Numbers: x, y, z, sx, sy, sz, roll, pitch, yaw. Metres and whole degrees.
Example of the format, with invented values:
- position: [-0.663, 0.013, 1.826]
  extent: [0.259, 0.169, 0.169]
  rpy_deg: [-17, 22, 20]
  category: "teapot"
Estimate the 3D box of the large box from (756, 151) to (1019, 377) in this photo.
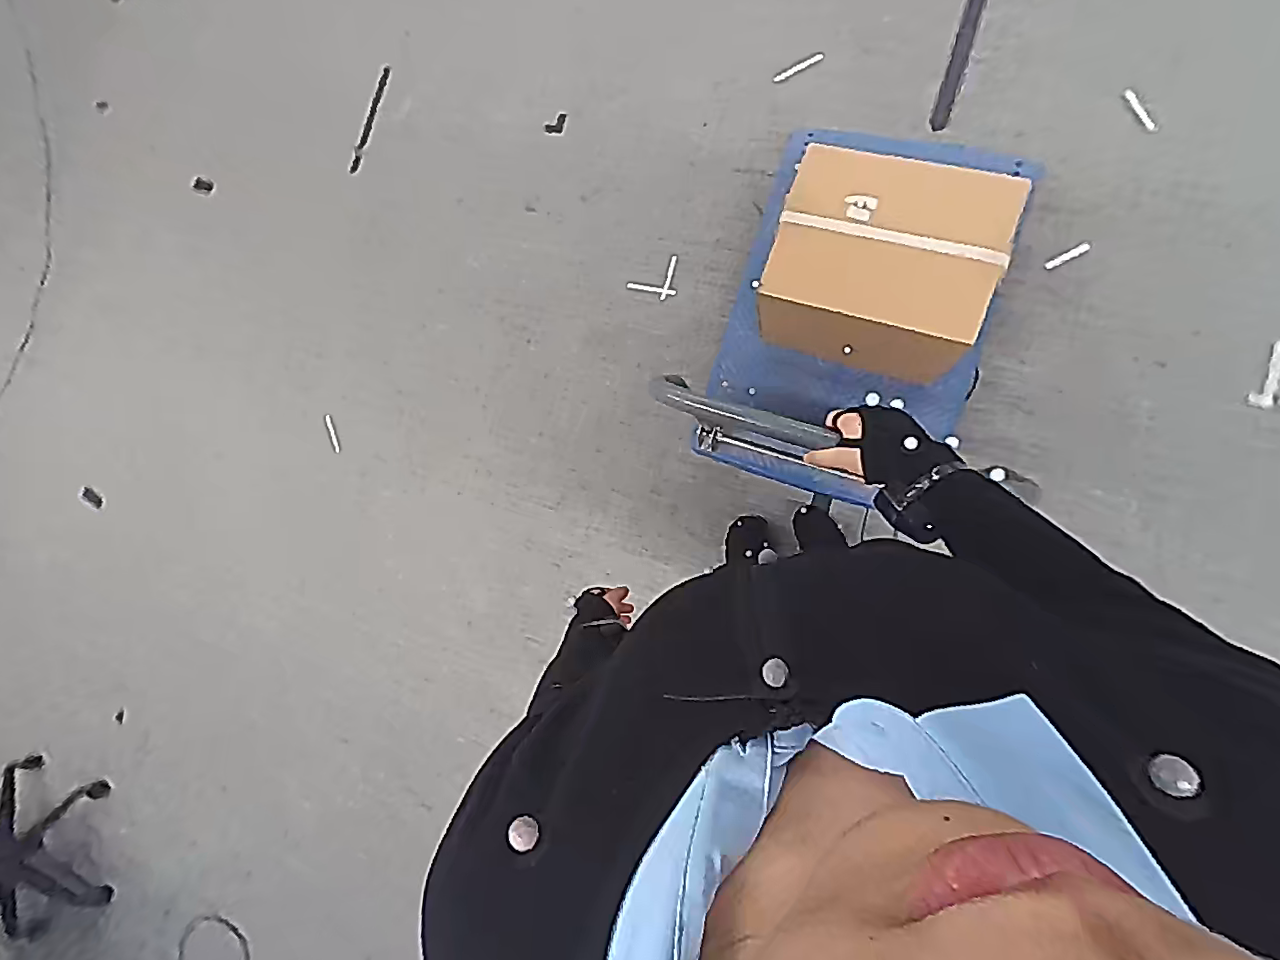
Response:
- position: [0.500, -0.447, 1.171]
  extent: [0.408, 0.320, 0.320]
  rpy_deg: [19, 90, 16]
  category: "large box"
